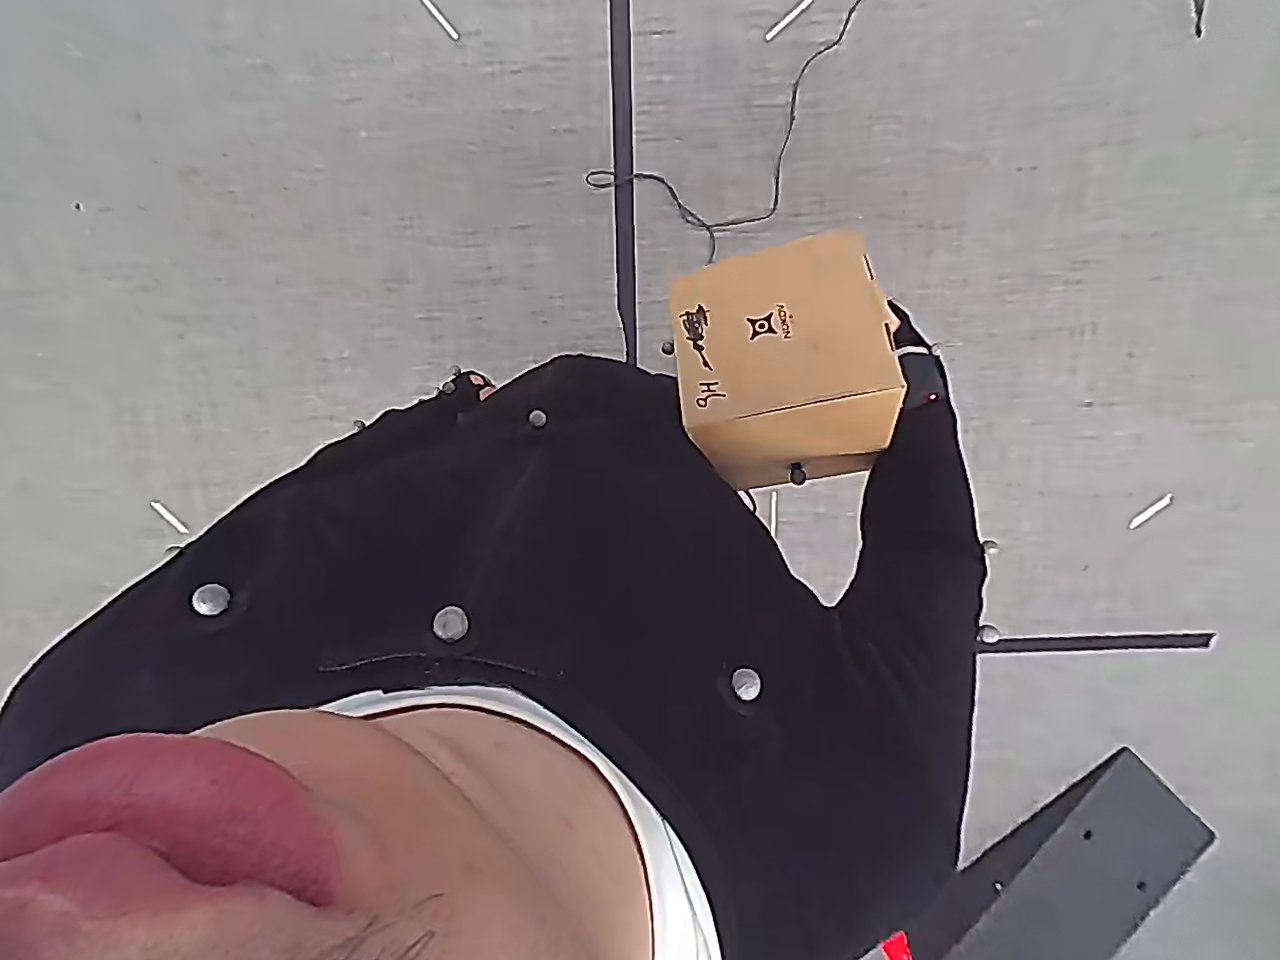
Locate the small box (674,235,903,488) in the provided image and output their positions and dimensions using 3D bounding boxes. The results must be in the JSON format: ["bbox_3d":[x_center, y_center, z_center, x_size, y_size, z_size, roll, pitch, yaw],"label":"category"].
[{"bbox_3d":[0.142,-0.105,0.547,0.179,0.176,0.168,-10,65,14],"label":"small box"}]
